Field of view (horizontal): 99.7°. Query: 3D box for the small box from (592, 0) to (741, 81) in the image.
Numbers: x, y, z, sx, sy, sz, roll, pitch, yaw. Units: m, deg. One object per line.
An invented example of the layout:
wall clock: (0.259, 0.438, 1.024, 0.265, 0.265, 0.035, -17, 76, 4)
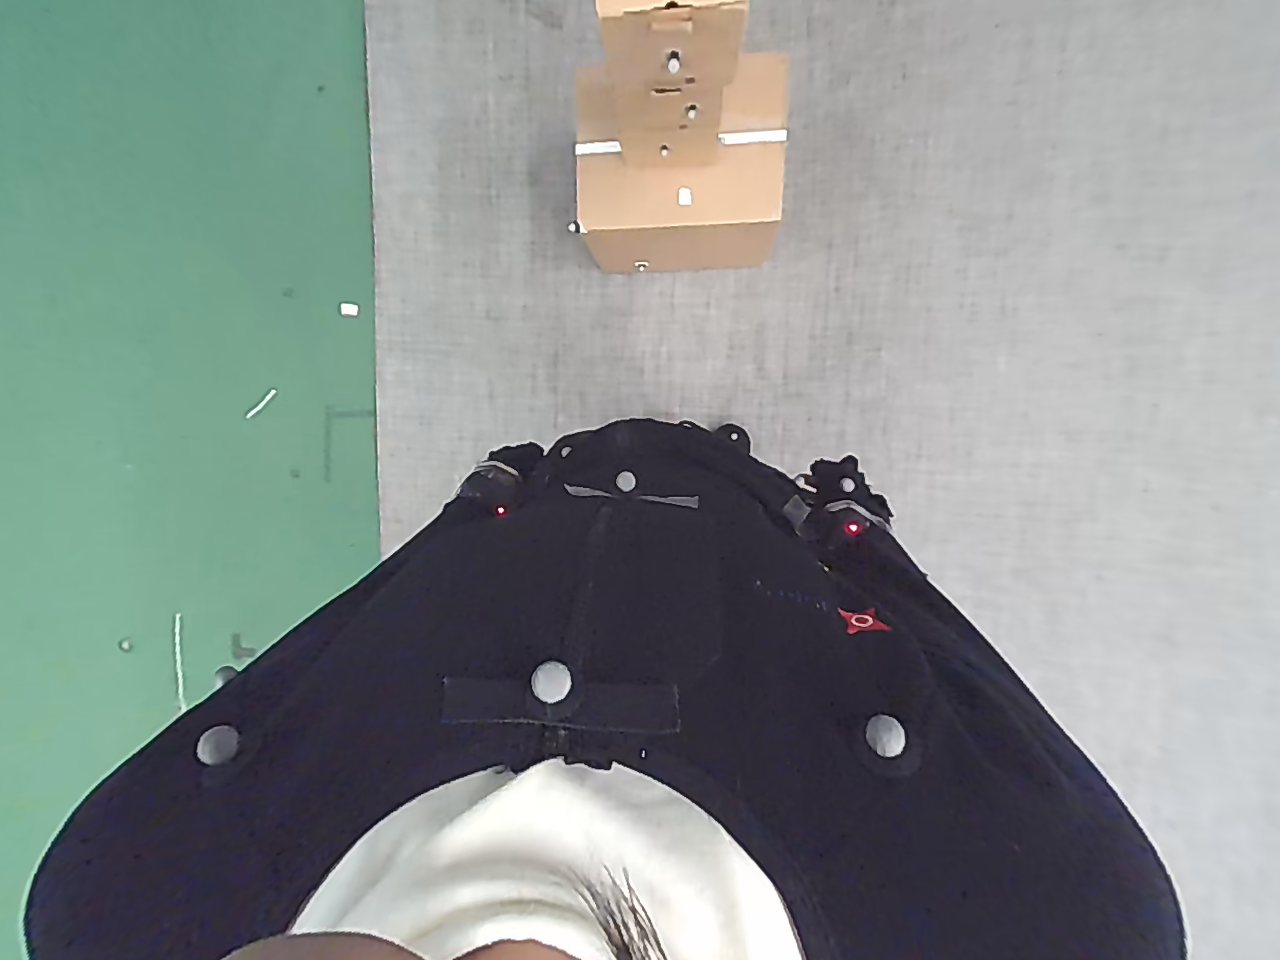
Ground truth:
small box: (0.037, -0.605, 0.642, 0.168, 0.176, 0.179, 1, 103, 6)

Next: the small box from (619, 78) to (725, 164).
small box: (0.057, -0.681, 0.957, 0.179, 0.176, 0.168, -1, 102, 6)

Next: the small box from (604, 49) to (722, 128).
small box: (0.040, -0.647, 0.800, 0.168, 0.176, 0.179, 0, 101, 5)
